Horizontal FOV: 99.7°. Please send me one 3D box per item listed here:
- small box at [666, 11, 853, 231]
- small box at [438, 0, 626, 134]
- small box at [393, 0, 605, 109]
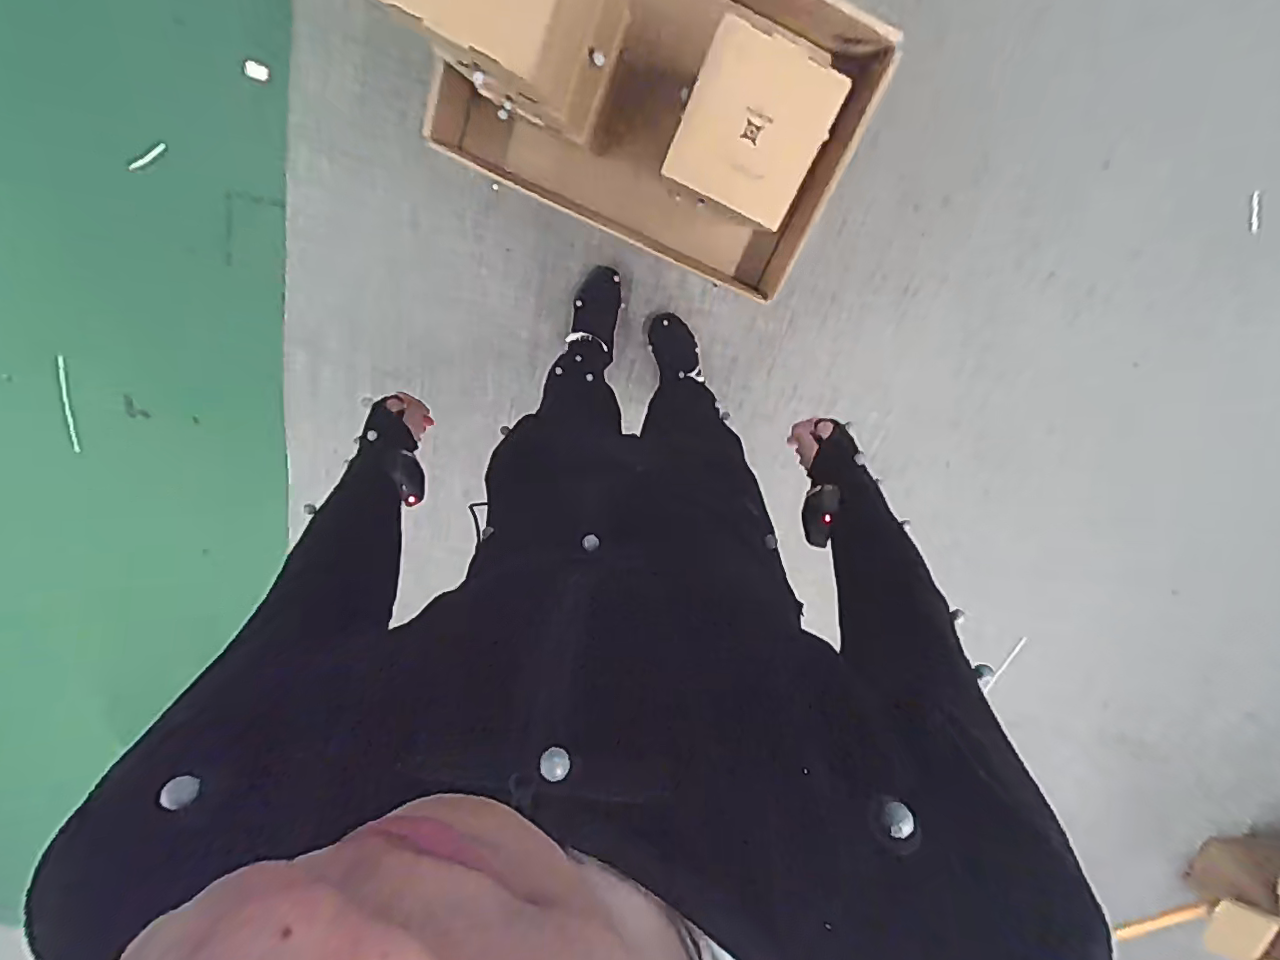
[{"bbox_3d":[0.142,-0.453,0.716,0.168,0.176,0.179,24,114,-7],"label":"small box"},{"bbox_3d":[-0.124,-0.572,0.676,0.168,0.176,0.179,24,114,-9],"label":"small box"},{"bbox_3d":[-0.129,-0.505,0.524,0.168,0.176,0.179,25,114,-8],"label":"small box"}]
